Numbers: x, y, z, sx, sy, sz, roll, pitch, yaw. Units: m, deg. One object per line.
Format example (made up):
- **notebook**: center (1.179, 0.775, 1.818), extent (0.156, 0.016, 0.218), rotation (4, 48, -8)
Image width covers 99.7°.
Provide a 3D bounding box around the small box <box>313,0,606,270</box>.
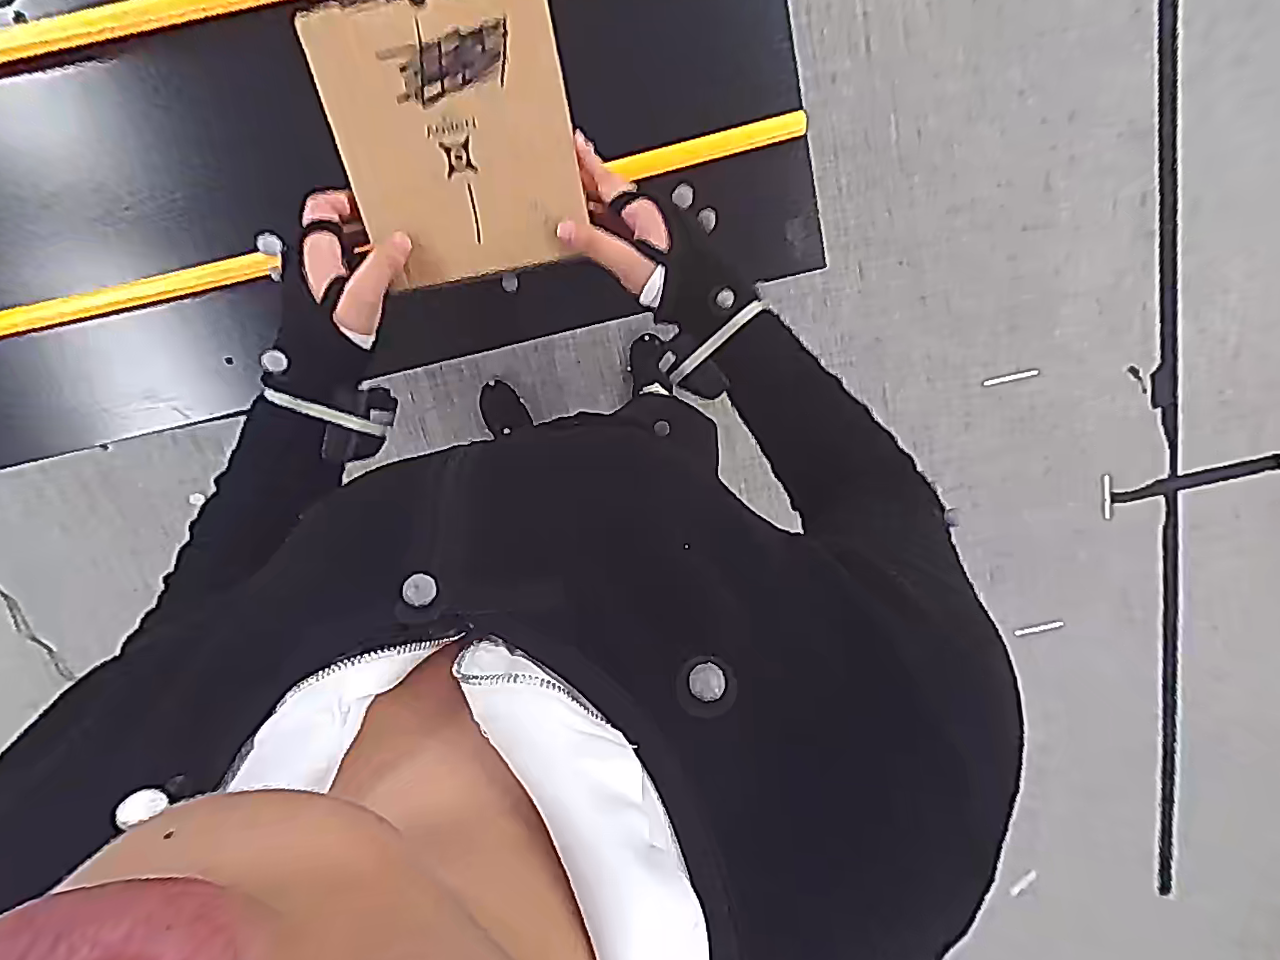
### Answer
- **small box**: center (-0.127, -0.282, 0.456), extent (0.168, 0.176, 0.179), rotation (-11, 112, 0)
